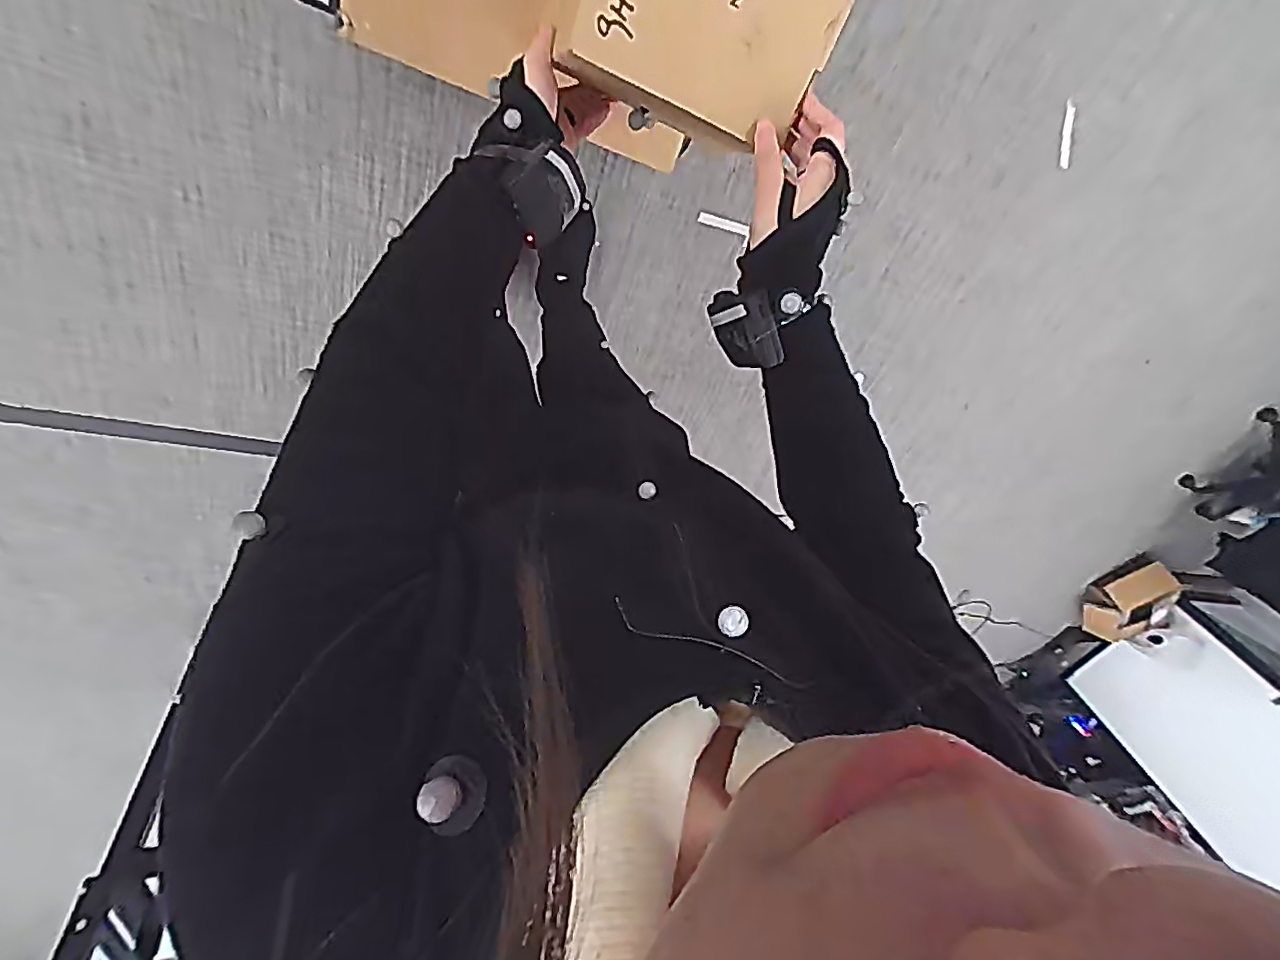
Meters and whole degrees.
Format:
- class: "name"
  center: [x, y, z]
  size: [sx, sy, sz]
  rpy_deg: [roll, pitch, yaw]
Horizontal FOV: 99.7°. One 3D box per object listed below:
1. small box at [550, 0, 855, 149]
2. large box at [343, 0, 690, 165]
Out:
- class: "small box"
  center: [0.045, -0.377, 0.401]
  size: [0.179, 0.176, 0.168]
  rpy_deg: [12, 120, -23]
- class: "large box"
  center: [-0.110, -0.656, 0.677]
  size: [0.408, 0.320, 0.320]
  rpy_deg: [10, 125, -22]
